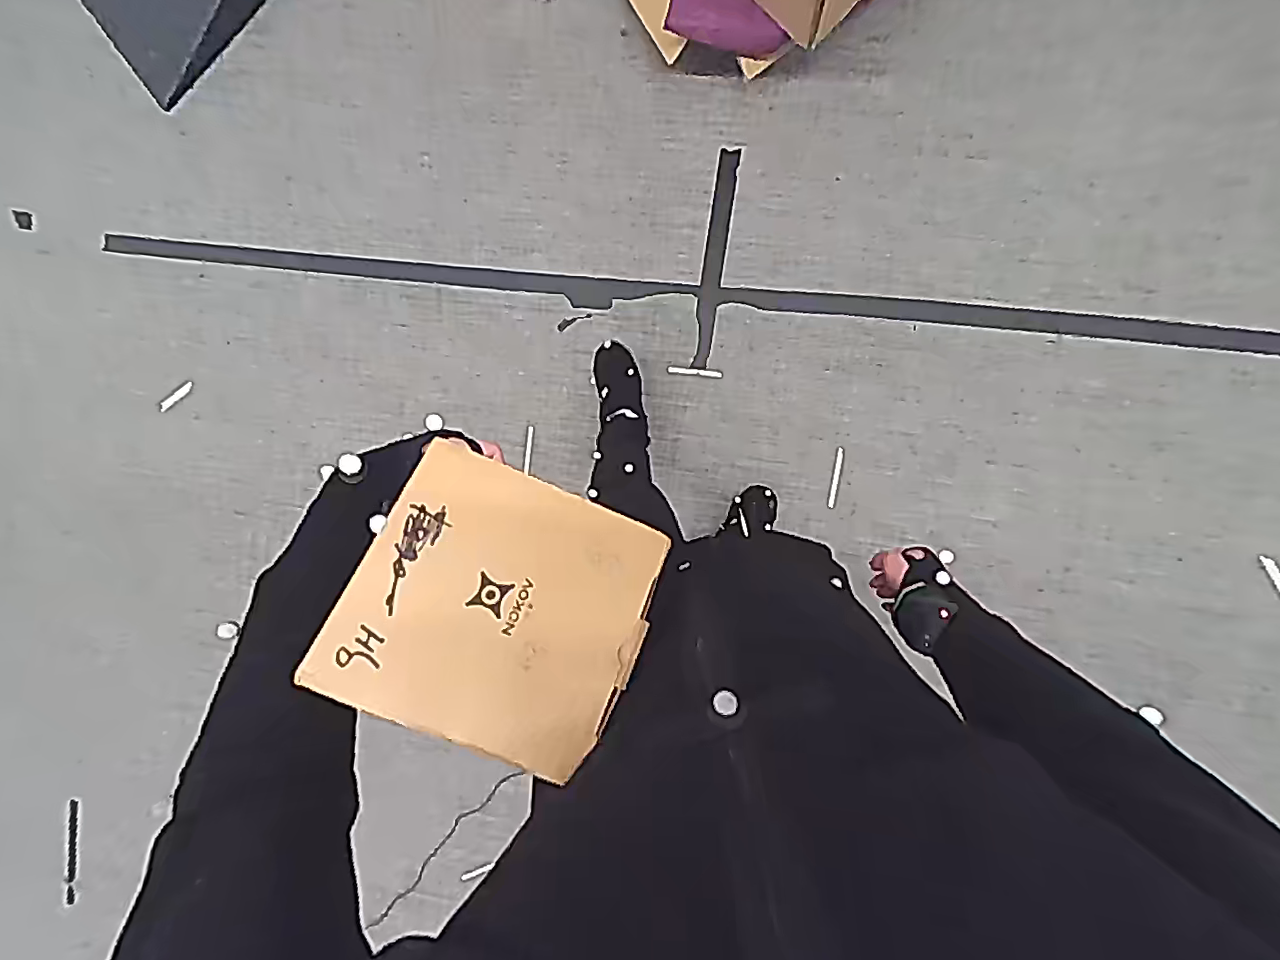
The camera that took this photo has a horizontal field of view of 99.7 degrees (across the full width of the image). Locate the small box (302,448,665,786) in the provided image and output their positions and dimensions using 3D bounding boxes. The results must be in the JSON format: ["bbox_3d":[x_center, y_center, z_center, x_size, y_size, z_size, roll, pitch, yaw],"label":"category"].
[{"bbox_3d":[-0.106,0.104,0.419,0.179,0.176,0.168,24,68,-6],"label":"small box"}]
